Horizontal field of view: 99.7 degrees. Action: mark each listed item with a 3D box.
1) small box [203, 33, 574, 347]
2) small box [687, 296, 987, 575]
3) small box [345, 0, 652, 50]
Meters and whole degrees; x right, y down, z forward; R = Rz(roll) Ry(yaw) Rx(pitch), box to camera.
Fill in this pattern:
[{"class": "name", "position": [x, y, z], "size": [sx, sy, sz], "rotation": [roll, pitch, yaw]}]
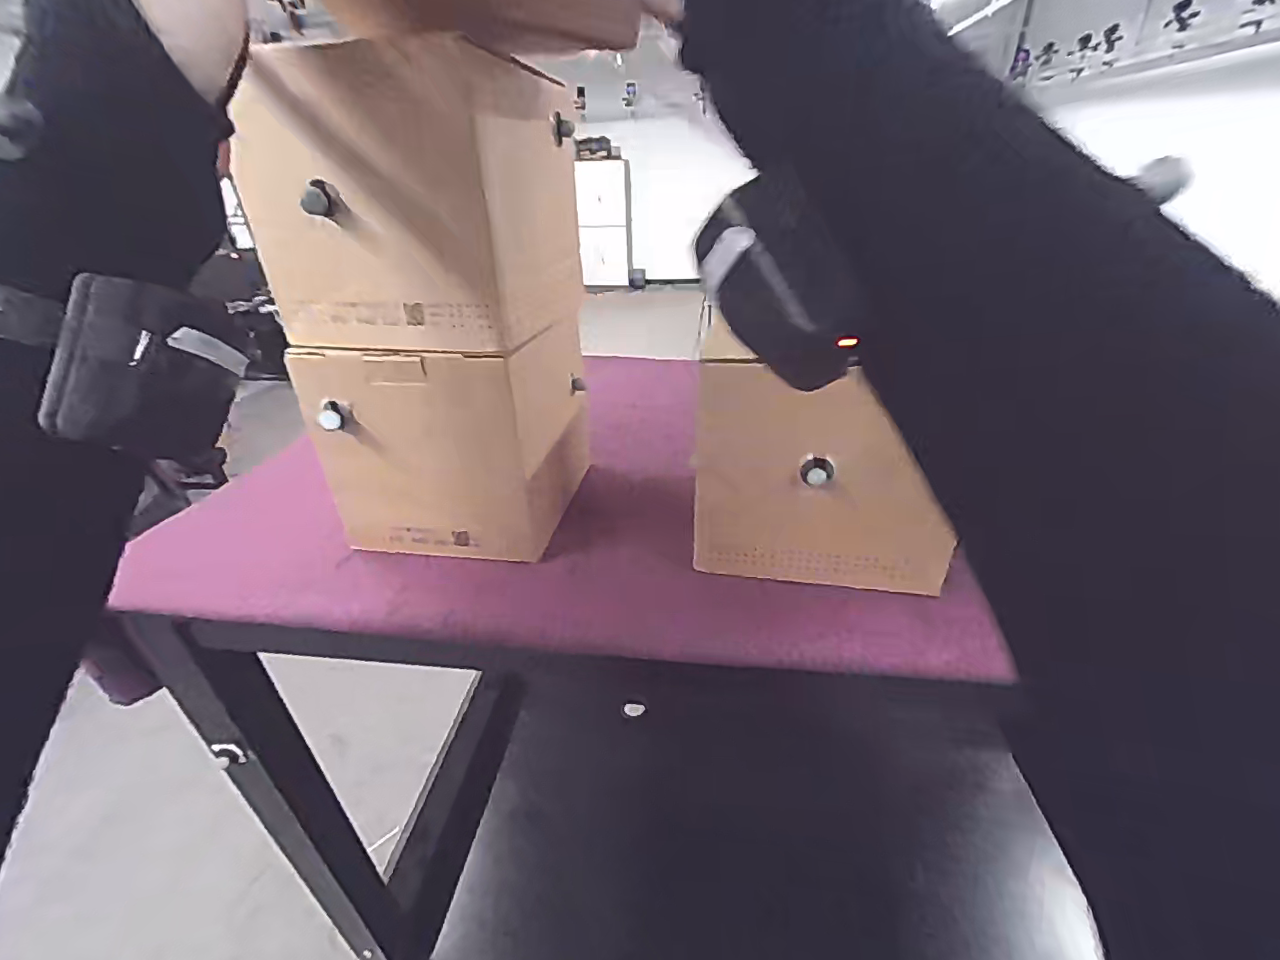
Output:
[{"class": "small box", "position": [-0.154, -0.202, 0.406], "size": [0.168, 0.176, 0.179], "rotation": [4, 29, 11]}, {"class": "small box", "position": [0.135, -0.042, 0.431], "size": [0.179, 0.176, 0.168], "rotation": [3, 30, 12]}, {"class": "small box", "position": [-0.085, -0.336, 0.262], "size": [0.179, 0.176, 0.168], "rotation": [-4, 23, -1]}]
